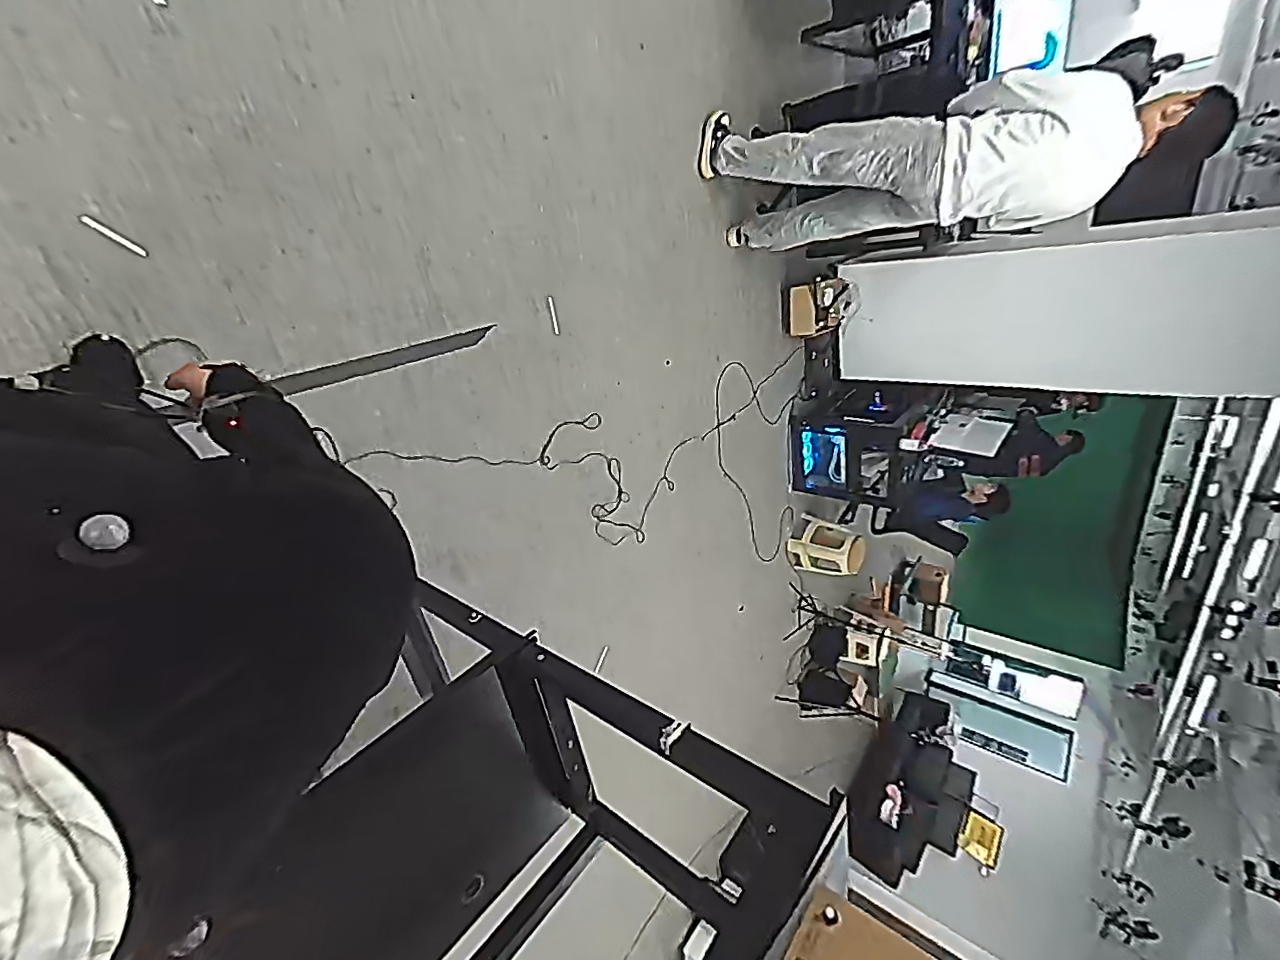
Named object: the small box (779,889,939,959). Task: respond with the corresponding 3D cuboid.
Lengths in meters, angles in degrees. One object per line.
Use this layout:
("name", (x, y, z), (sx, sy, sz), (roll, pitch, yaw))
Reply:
("small box", (0.280, 0.698, 0.716), (0.168, 0.176, 0.179), (-35, 125, -39))
